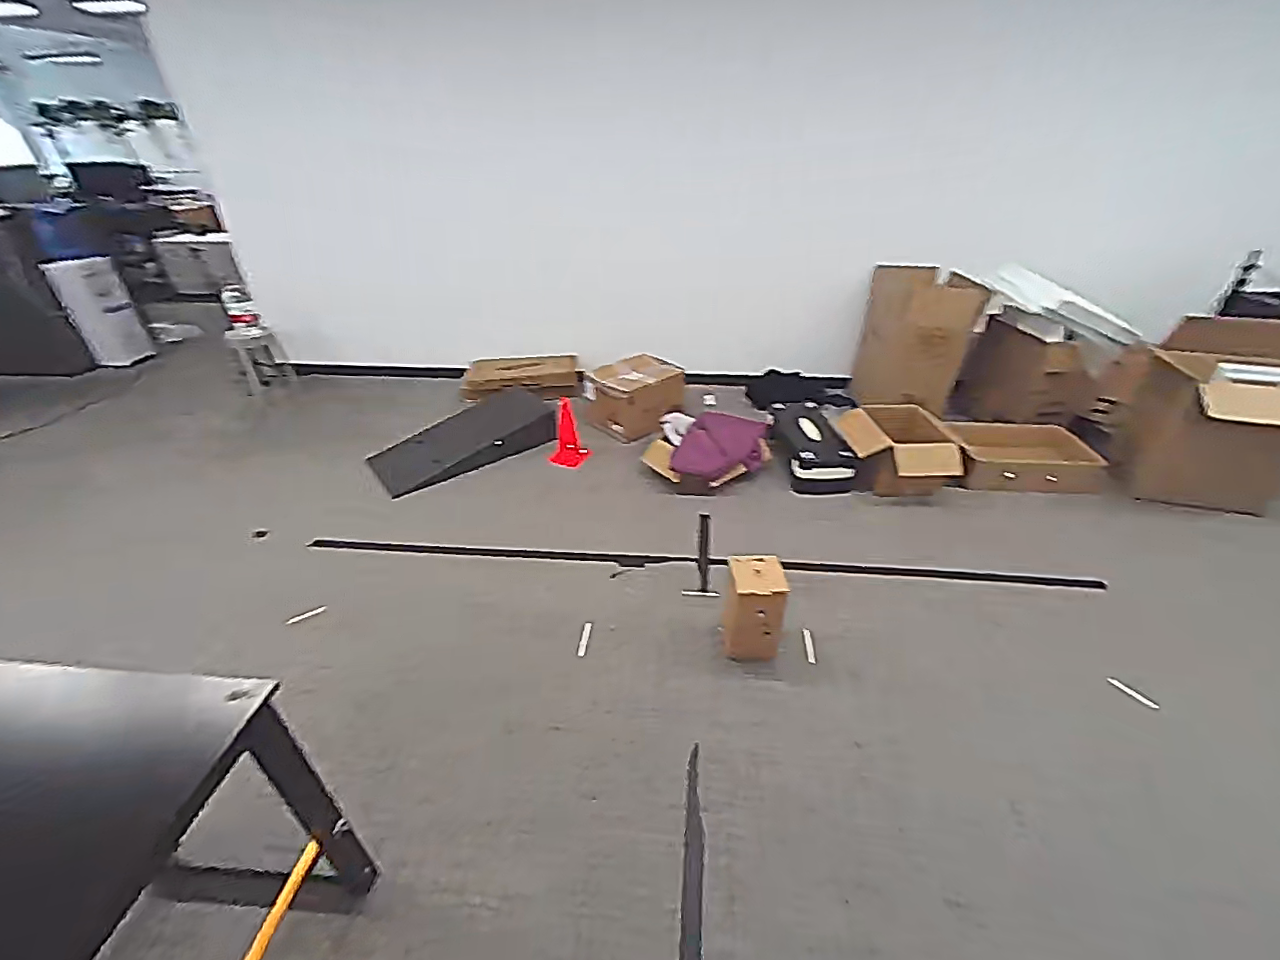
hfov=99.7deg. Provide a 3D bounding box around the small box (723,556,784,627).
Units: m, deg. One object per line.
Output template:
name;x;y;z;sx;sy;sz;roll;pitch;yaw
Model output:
small box;0.374;0.375;1.807;0.168;0.176;0.179;-2;34;-1

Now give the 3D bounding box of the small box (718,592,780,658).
small box;0.378;0.508;1.903;0.179;0.176;0.168;-1;33;0
